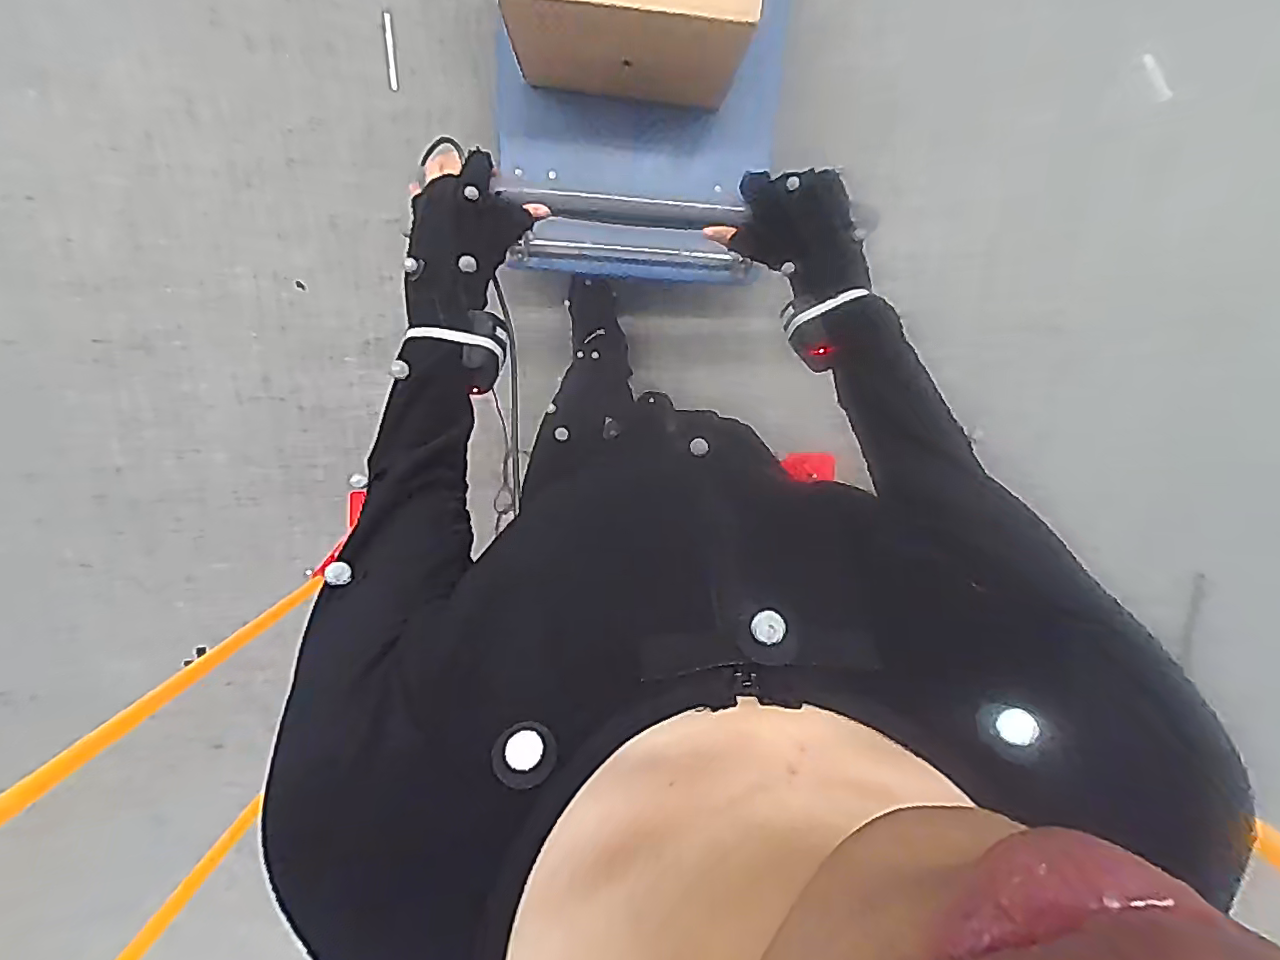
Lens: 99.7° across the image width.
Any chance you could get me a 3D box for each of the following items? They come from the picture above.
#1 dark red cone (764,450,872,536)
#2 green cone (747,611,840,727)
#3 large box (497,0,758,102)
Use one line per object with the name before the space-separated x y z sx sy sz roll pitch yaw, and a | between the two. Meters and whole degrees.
dark red cone | 0.449 0.056 1.310 0.201 0.394 0.202 -2 104 -4
green cone | 0.434 0.524 1.440 0.202 0.368 0.200 2 103 -4
large box | -0.013 -0.898 0.930 0.408 0.320 0.320 4 104 -3
